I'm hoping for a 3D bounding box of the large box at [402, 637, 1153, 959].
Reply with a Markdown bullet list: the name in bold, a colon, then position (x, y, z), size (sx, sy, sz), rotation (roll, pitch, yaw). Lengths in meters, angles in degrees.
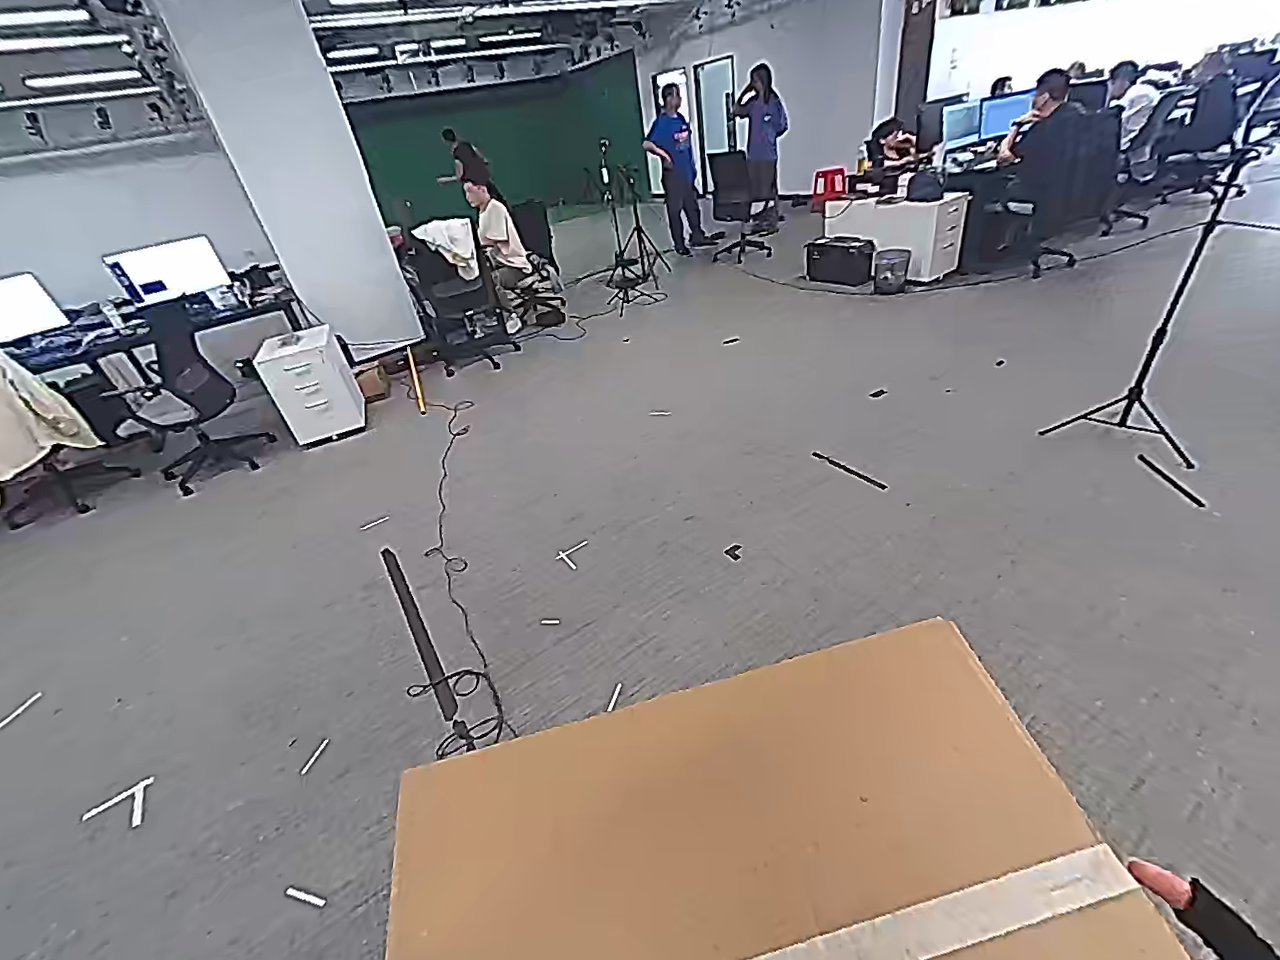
- **large box**: position (0.086, 0.372, 0.396), size (0.408, 0.320, 0.320), rotation (-15, 46, -3)
